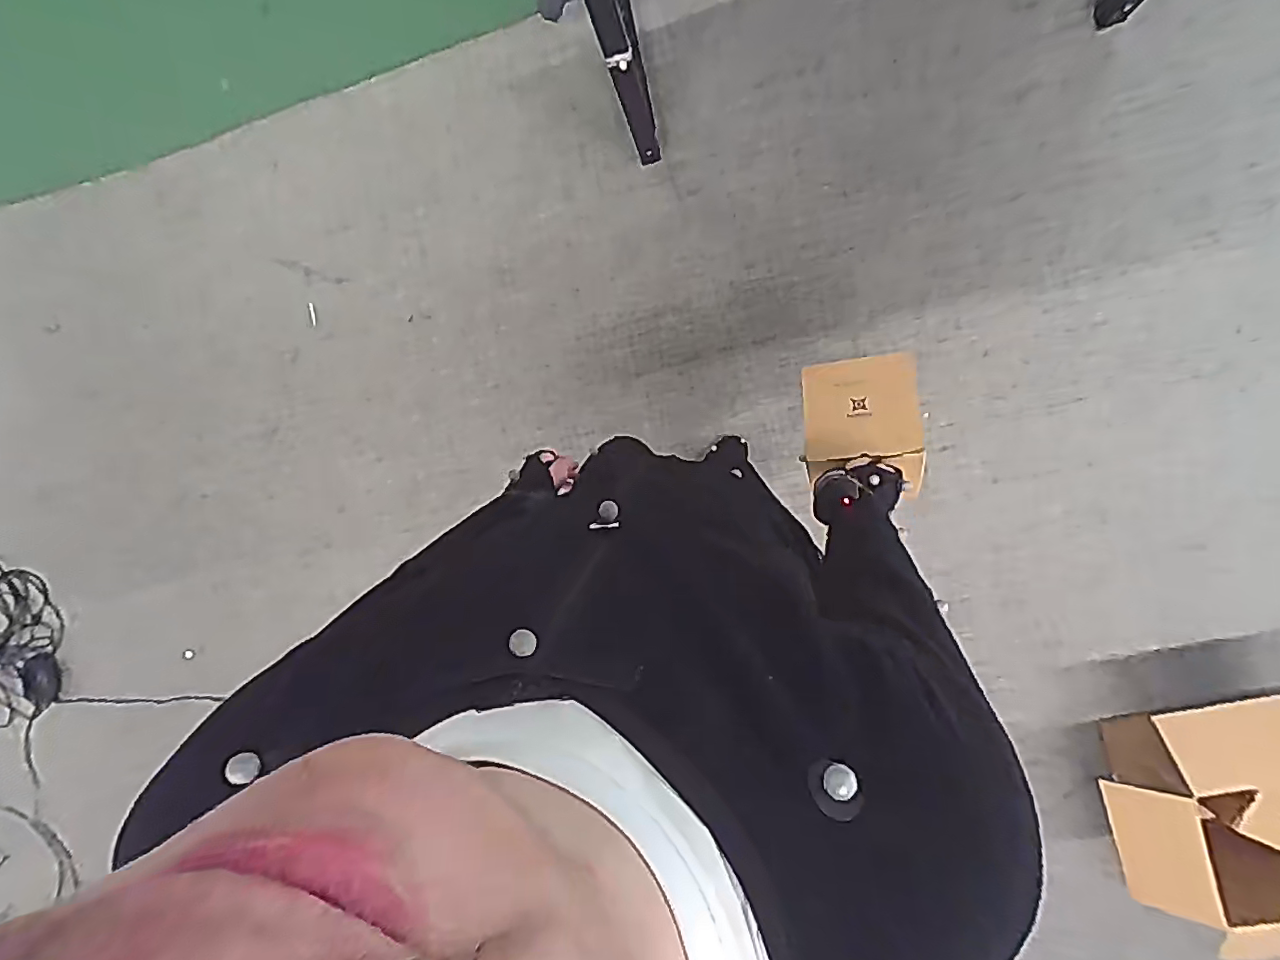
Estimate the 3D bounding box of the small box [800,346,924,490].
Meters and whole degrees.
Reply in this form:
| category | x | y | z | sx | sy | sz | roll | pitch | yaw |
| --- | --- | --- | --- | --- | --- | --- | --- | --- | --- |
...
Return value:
| category | x | y | z | sx | sy | sz | roll | pitch | yaw |
| --- | --- | --- | --- | --- | --- | --- | --- | --- | --- |
| small box | 0.360 | -0.089 | 0.889 | 0.168 | 0.176 | 0.179 | -5 | 65 | 20 |
